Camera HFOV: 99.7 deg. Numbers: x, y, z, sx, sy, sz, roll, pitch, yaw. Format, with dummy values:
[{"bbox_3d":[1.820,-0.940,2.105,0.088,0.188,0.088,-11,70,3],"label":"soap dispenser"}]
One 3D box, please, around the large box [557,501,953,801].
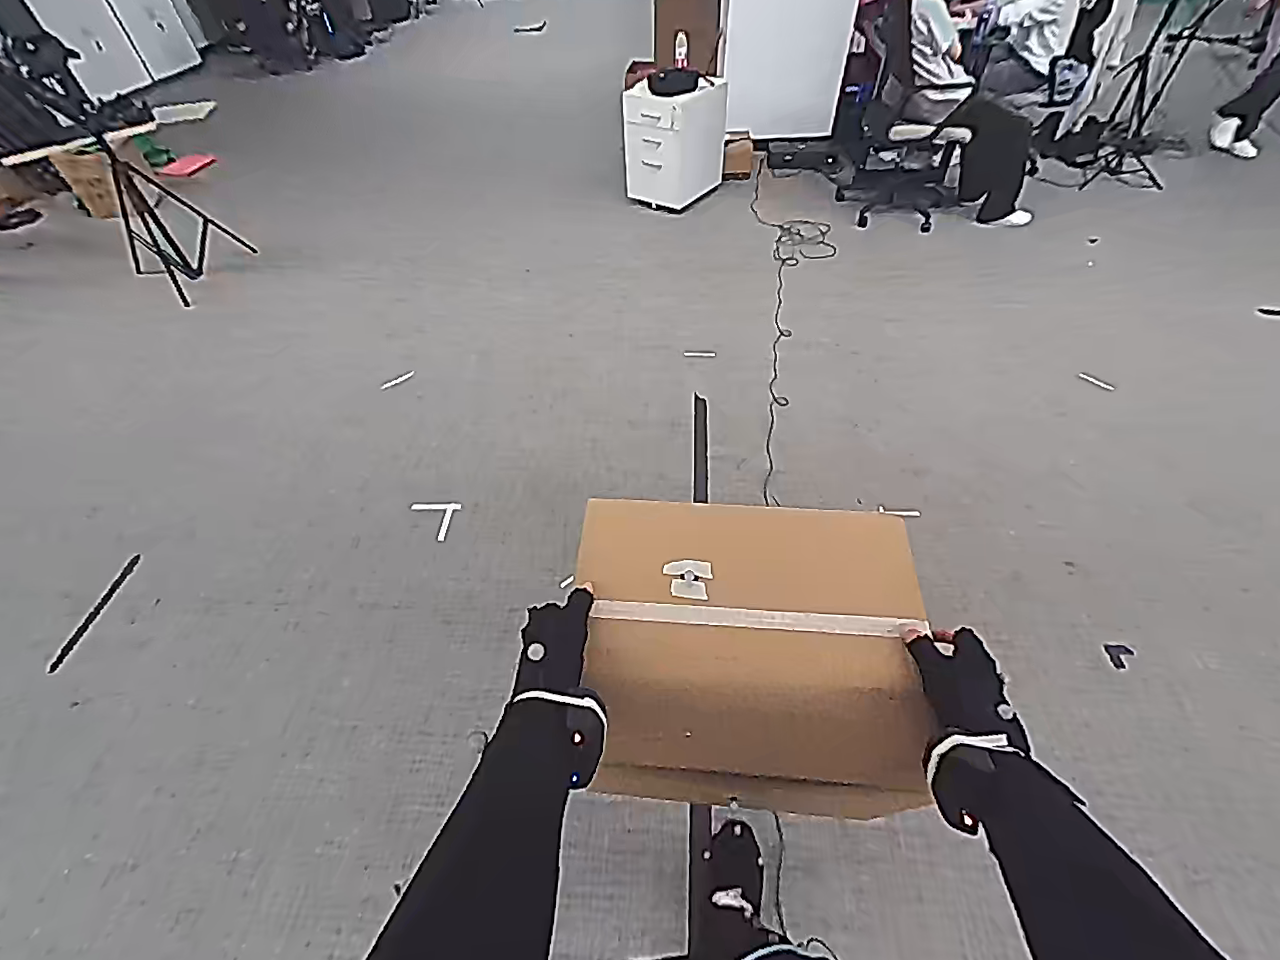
[{"bbox_3d":[0.131,0.244,0.748,0.408,0.320,0.320,2,54,5],"label":"large box"}]
